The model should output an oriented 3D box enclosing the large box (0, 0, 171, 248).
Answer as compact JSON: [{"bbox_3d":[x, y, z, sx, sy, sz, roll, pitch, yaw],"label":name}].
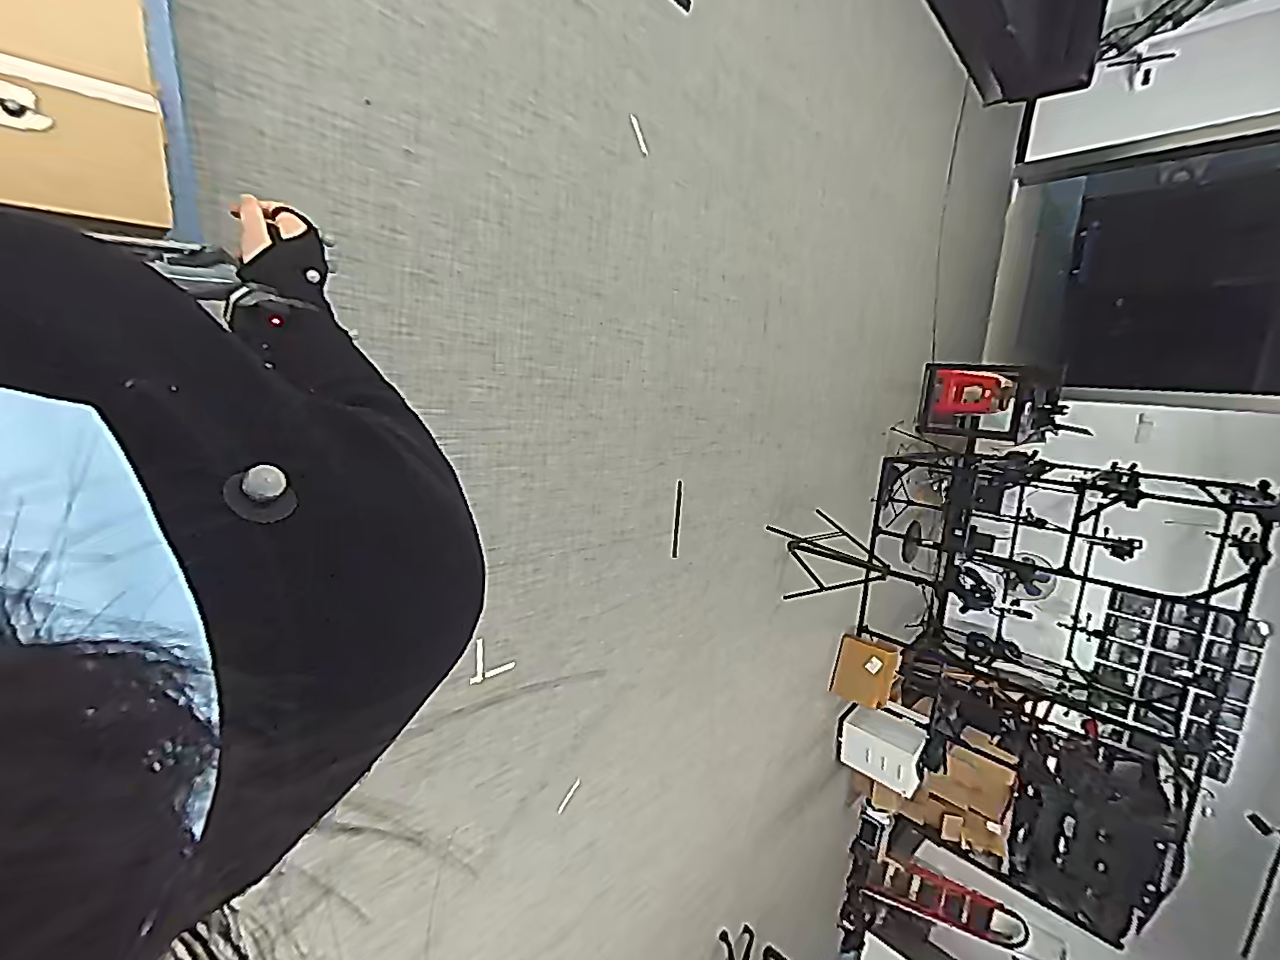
[{"bbox_3d":[-0.910,-0.509,0.694,0.408,0.320,0.320,-11,109,-47],"label":"large box"}]
